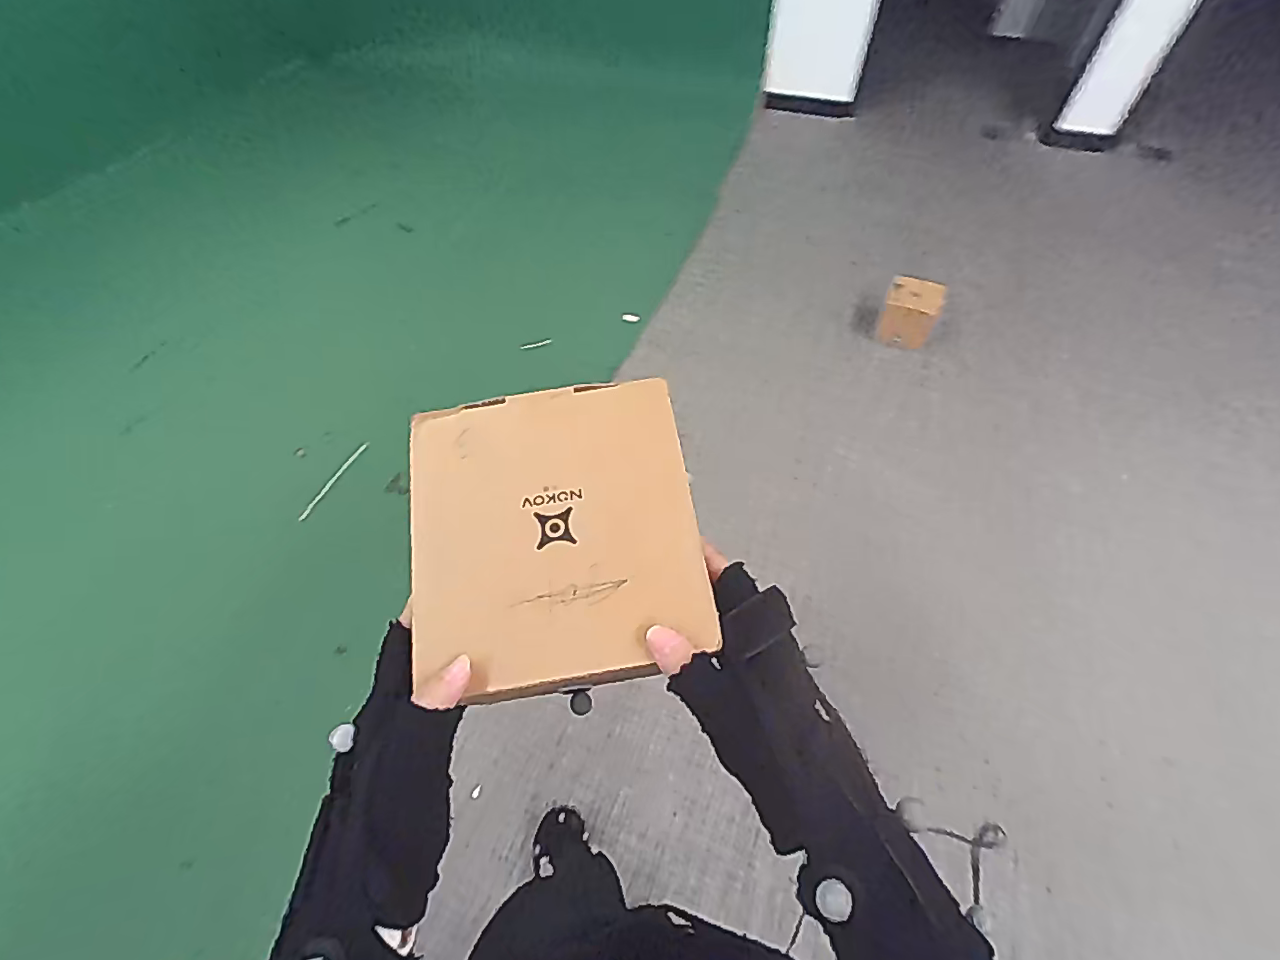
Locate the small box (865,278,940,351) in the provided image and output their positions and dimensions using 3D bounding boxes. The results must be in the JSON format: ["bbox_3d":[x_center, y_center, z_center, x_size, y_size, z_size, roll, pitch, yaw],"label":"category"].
[{"bbox_3d":[0.936,-0.587,1.934,0.179,0.176,0.168,22,60,16],"label":"small box"}]

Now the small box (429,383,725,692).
[{"bbox_3d":[-0.044,0.053,0.400,0.168,0.176,0.179,-8,69,-3],"label":"small box"}]
